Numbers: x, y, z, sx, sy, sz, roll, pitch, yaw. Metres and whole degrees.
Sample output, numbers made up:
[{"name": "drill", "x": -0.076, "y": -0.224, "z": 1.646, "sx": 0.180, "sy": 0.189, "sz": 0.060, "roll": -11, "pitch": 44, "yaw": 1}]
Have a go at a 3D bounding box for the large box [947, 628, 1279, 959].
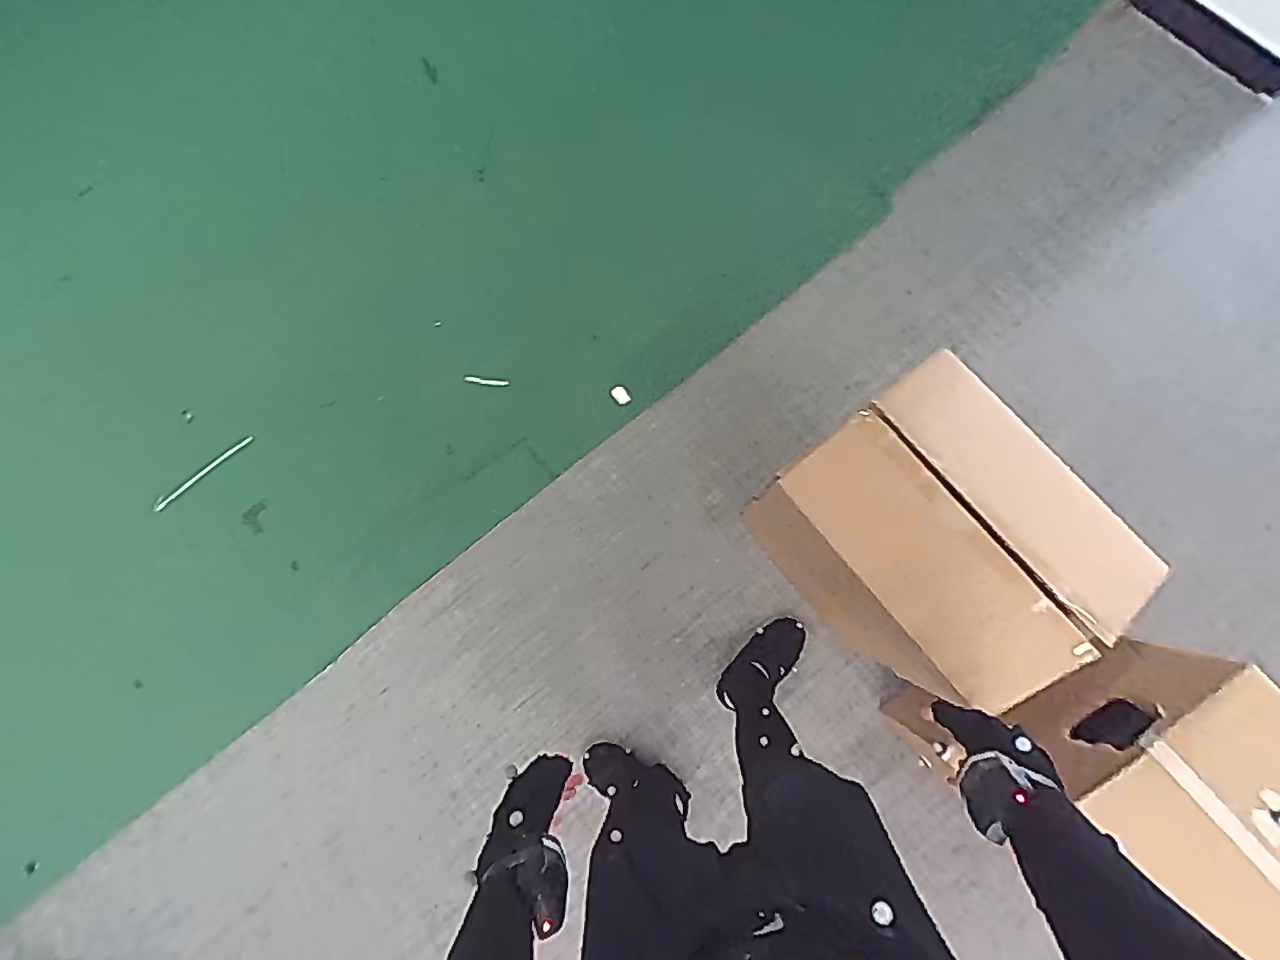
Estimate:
[{"name": "large box", "x": 0.752, "y": 0.482, "z": 0.771, "sx": 0.320, "sy": 0.320, "sz": 0.408, "roll": -39, "pitch": 78, "yaw": 2}]
